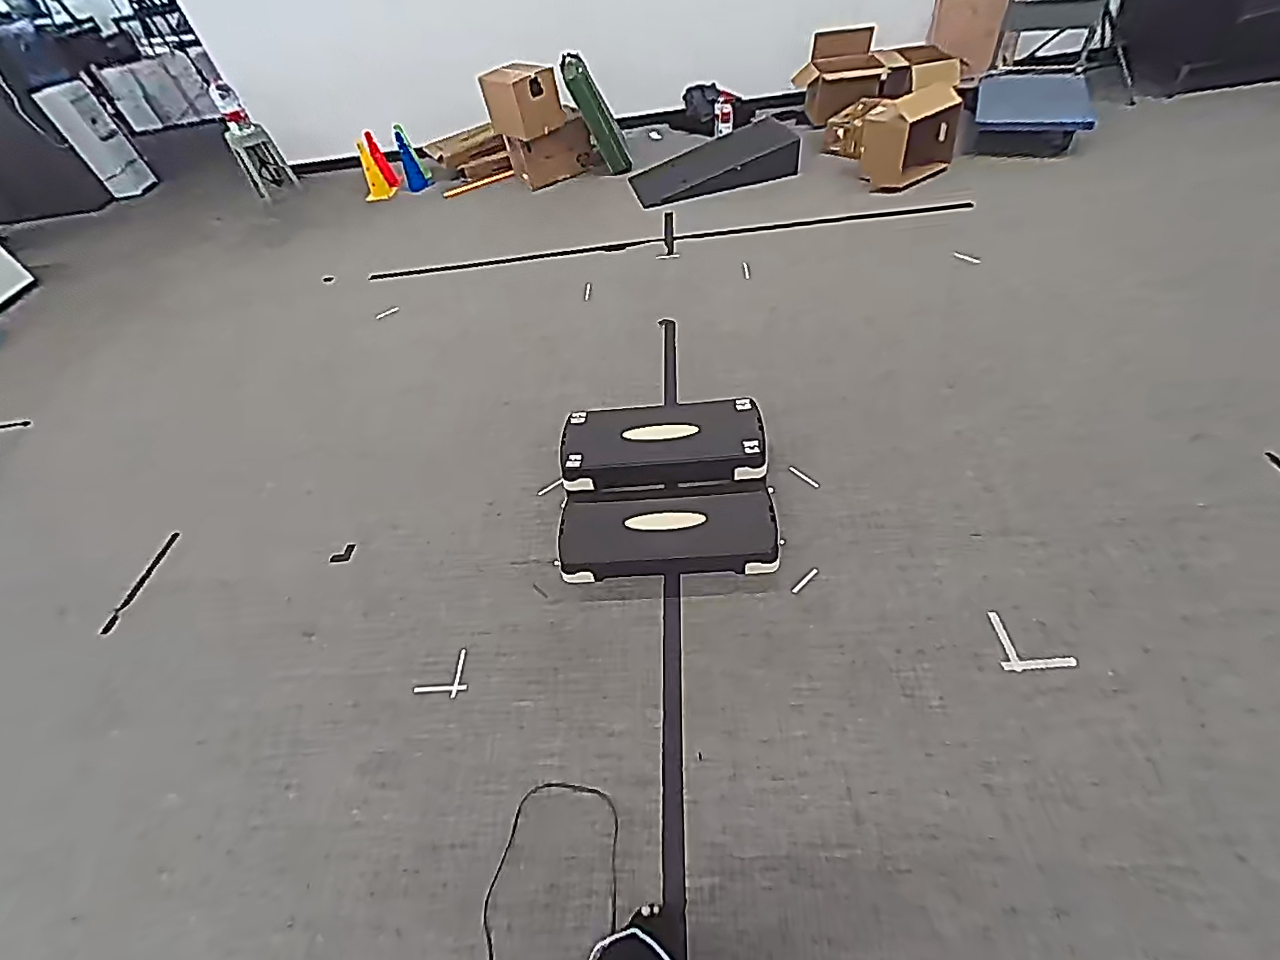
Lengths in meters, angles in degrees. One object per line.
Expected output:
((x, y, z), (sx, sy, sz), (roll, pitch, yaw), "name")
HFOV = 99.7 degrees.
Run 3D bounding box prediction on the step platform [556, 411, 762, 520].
((0.061, -0.054, 1.827), (0.684, 0.204, 0.286), (-4, 49, 5), "step platform")
